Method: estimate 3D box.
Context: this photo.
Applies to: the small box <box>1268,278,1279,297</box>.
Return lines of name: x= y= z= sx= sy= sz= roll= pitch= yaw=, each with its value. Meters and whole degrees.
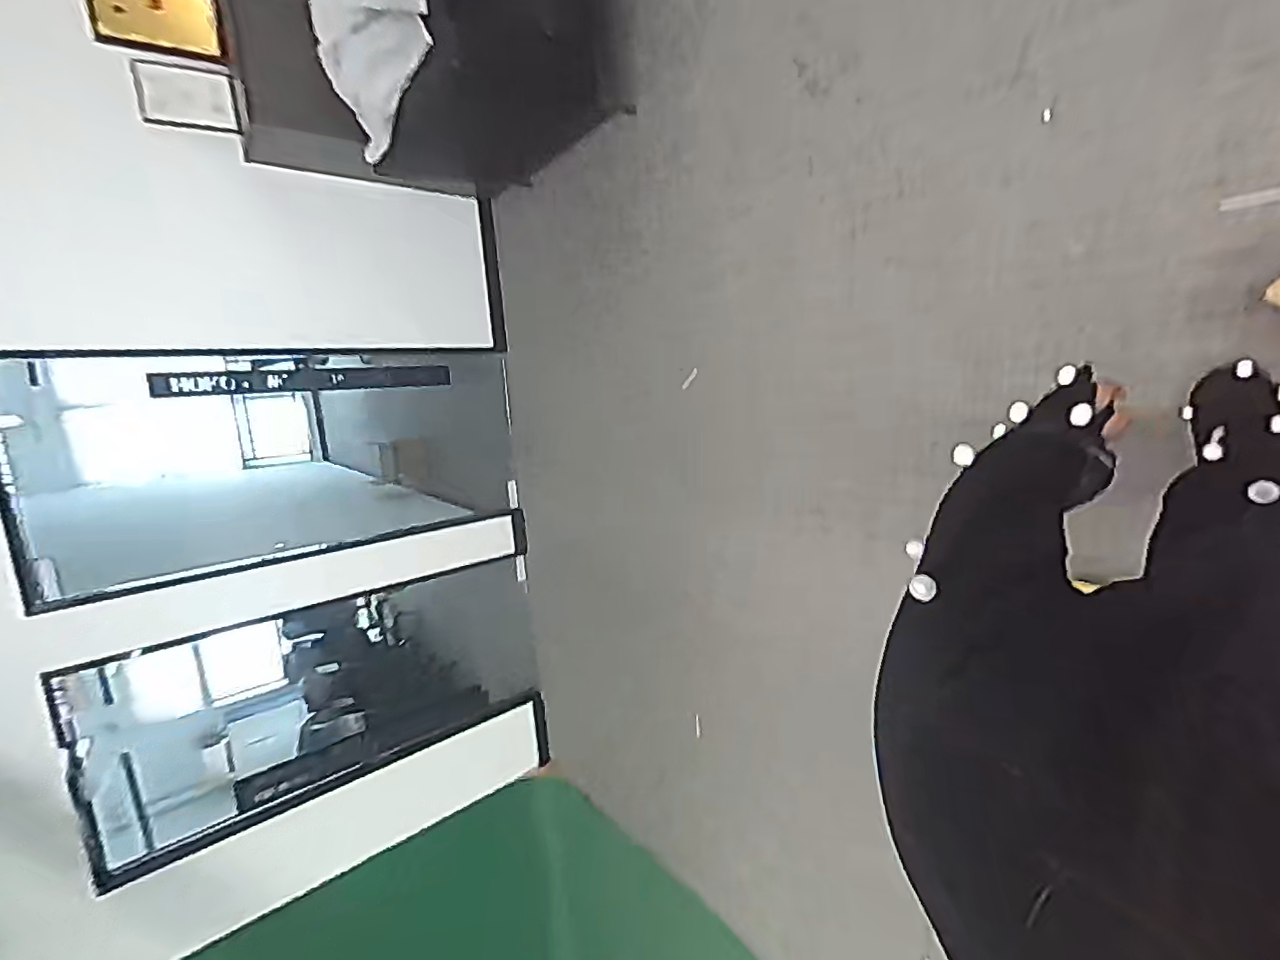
small box: x=1.045 y=-0.287 z=0.739 sx=0.179 sy=0.176 sz=0.168 roll=53 pitch=136 yaw=30
